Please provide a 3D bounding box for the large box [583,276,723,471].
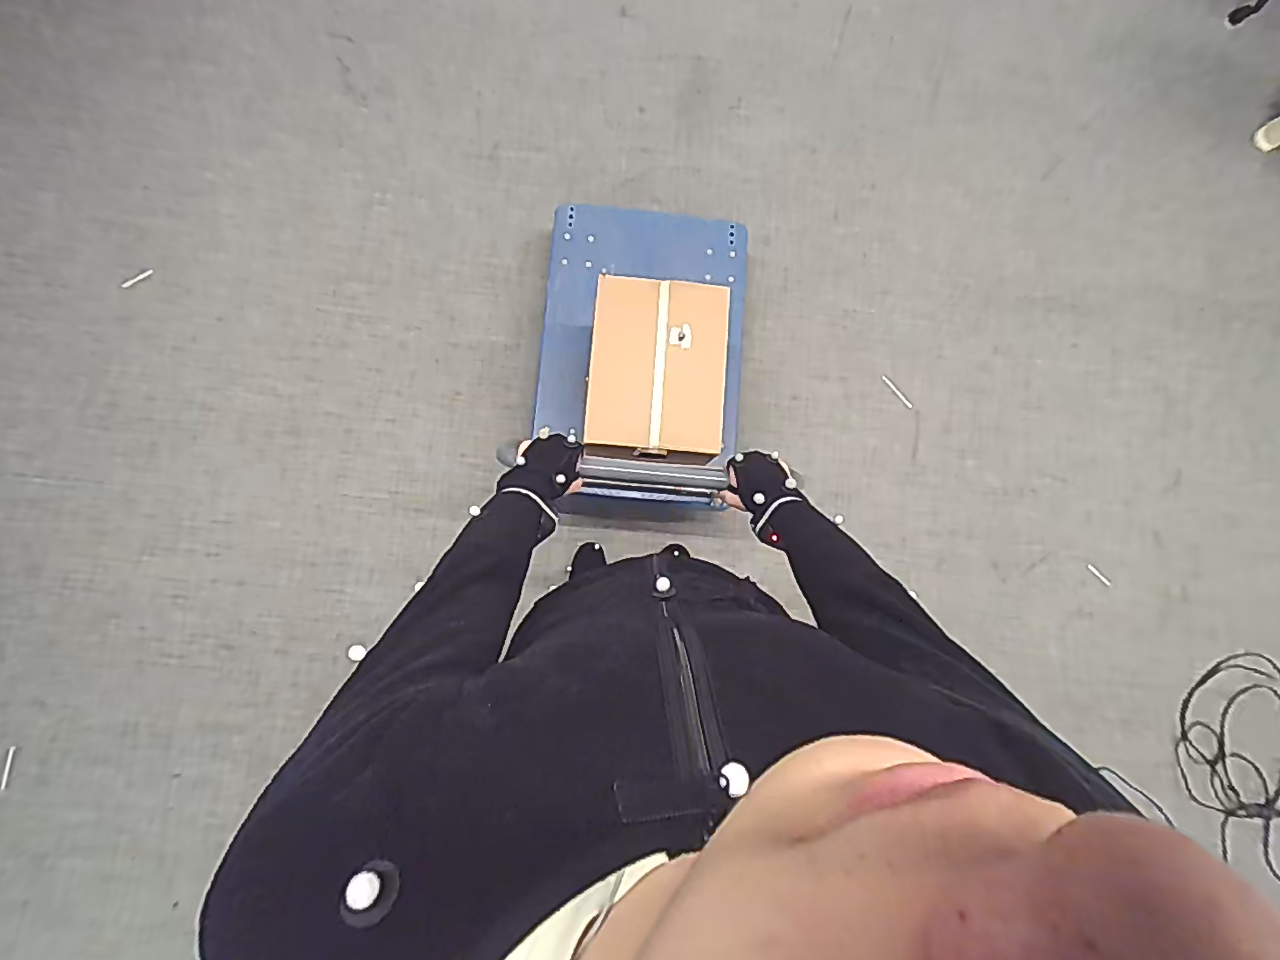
[{"bbox_3d":[0.026,-0.247,1.382,0.320,0.320,0.408,4,81,-4],"label":"large box"}]
